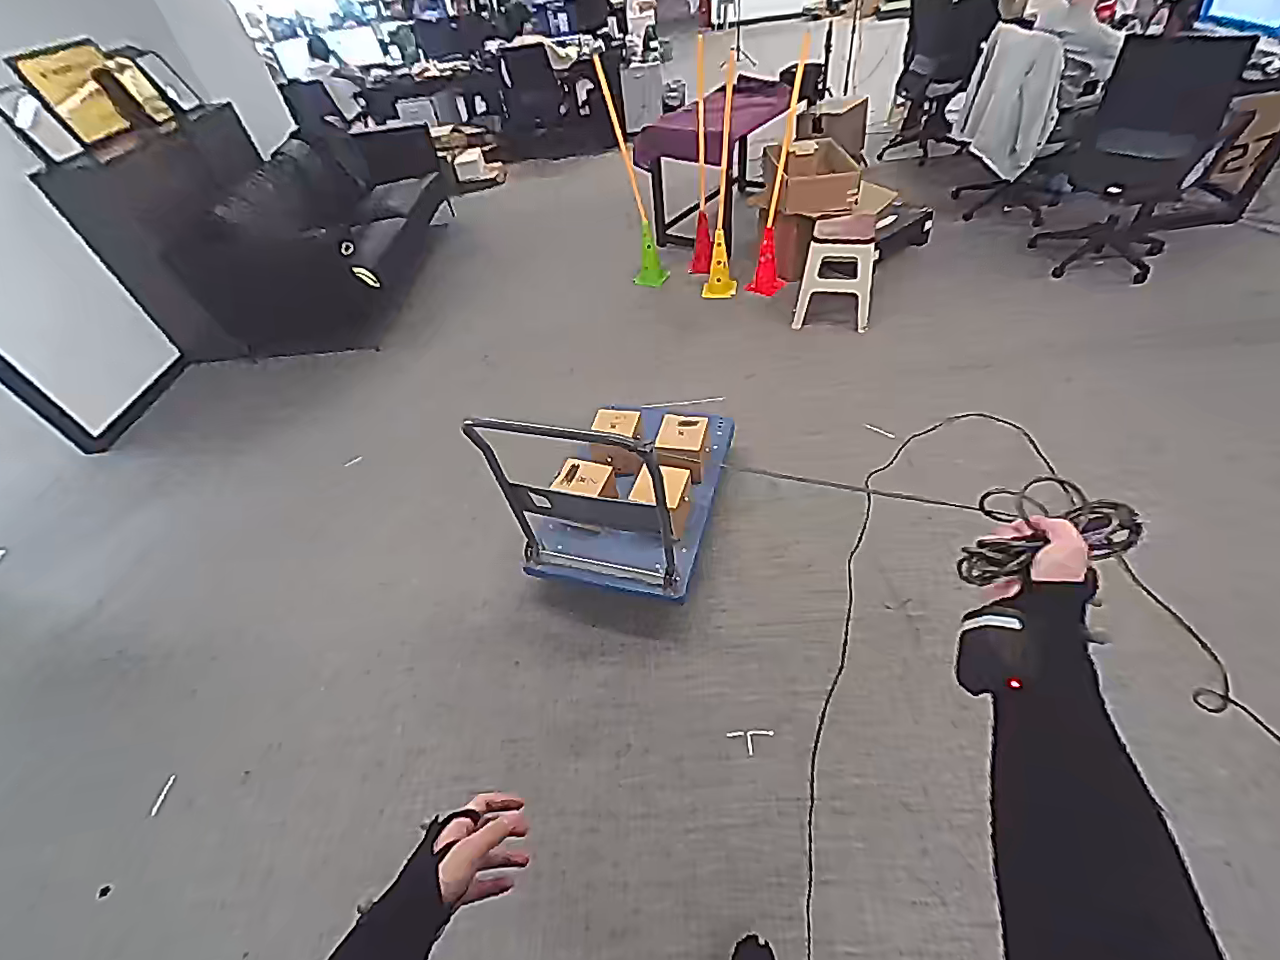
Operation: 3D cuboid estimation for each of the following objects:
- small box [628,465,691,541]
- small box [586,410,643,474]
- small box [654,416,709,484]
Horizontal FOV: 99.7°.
[{"bbox_3d":[0.071,0.078,1.822,0.168,0.176,0.179,10,50,17],"label":"small box"},{"bbox_3d":[-0.088,-0.142,2.050,0.168,0.176,0.179,6,49,14],"label":"small box"},{"bbox_3d":[0.158,-0.112,1.982,0.168,0.176,0.179,7,50,16],"label":"small box"}]
